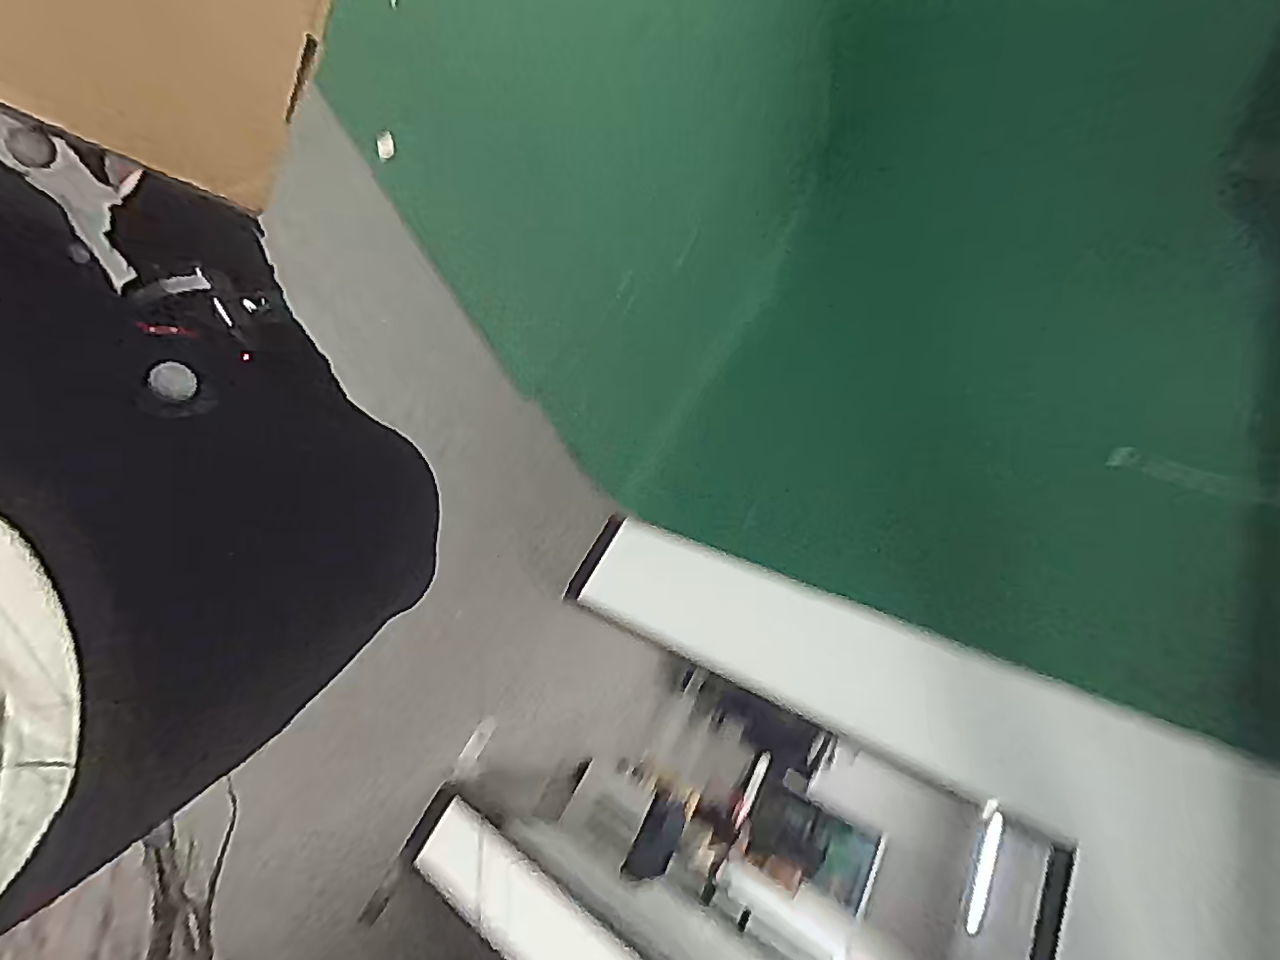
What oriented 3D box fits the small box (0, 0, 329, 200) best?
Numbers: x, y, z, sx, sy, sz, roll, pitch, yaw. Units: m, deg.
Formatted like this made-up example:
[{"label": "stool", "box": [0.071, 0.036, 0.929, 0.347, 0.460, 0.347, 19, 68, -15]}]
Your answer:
[{"label": "small box", "box": [-0.205, -0.206, 0.143, 0.179, 0.176, 0.168, 2, 112, -57]}]
